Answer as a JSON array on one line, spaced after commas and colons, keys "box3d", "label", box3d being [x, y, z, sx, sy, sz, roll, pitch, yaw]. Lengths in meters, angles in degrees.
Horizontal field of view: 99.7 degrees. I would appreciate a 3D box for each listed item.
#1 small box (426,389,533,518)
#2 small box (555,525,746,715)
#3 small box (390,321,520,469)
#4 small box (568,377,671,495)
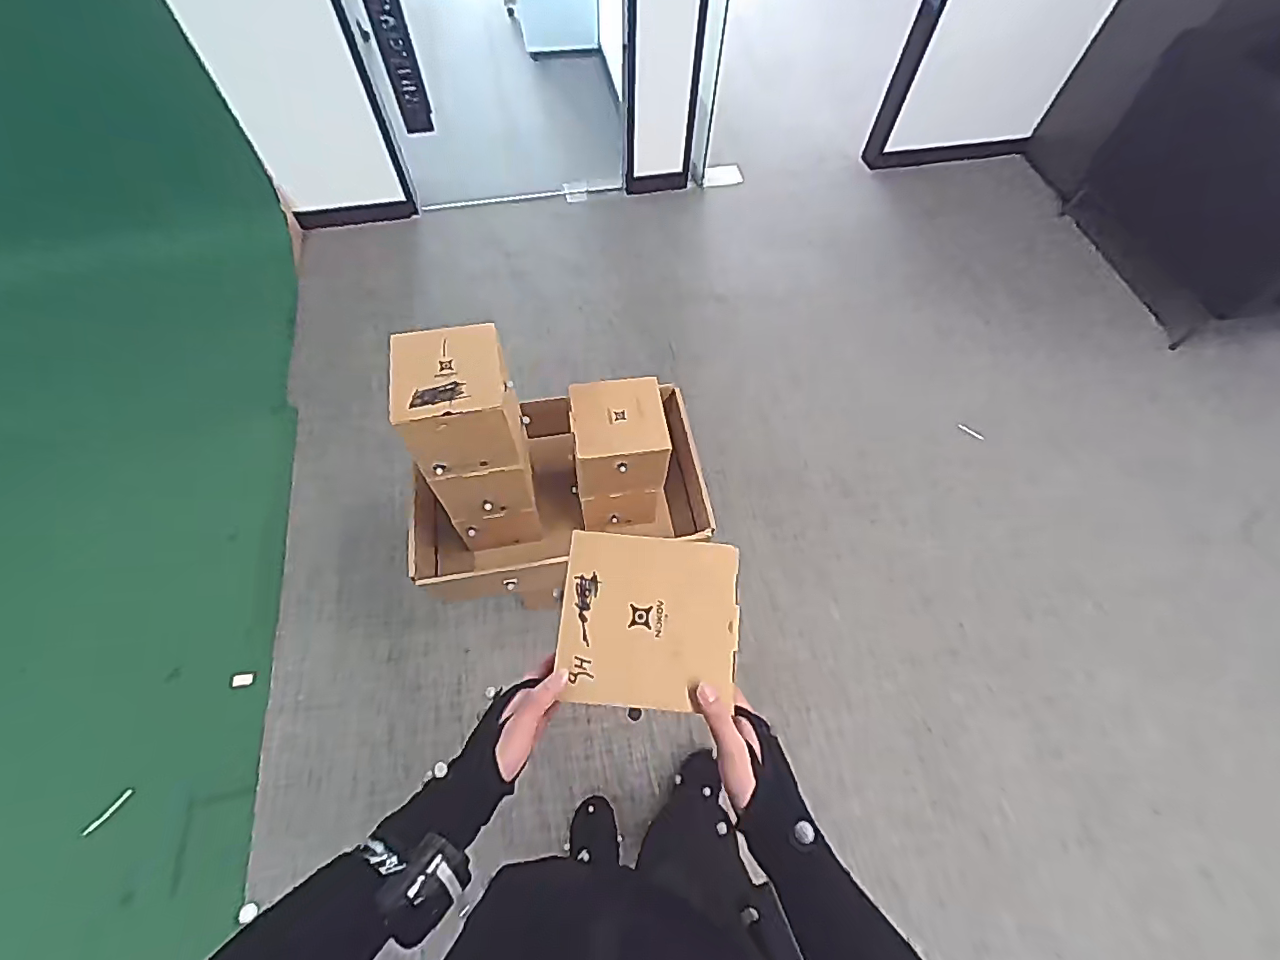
[{"box3d": [-0.300, -0.047, 1.032, 0.168, 0.176, 0.179, -8, 62, -7], "label": "small box"}, {"box3d": [0.009, 0.159, 0.601, 0.179, 0.176, 0.168, 7, 69, -2], "label": "small box"}, {"box3d": [-0.297, -0.130, 0.890, 0.168, 0.176, 0.179, -9, 62, -8], "label": "small box"}, {"box3d": [-0.043, -0.081, 1.066, 0.179, 0.176, 0.168, -6, 64, -7], "label": "small box"}]
